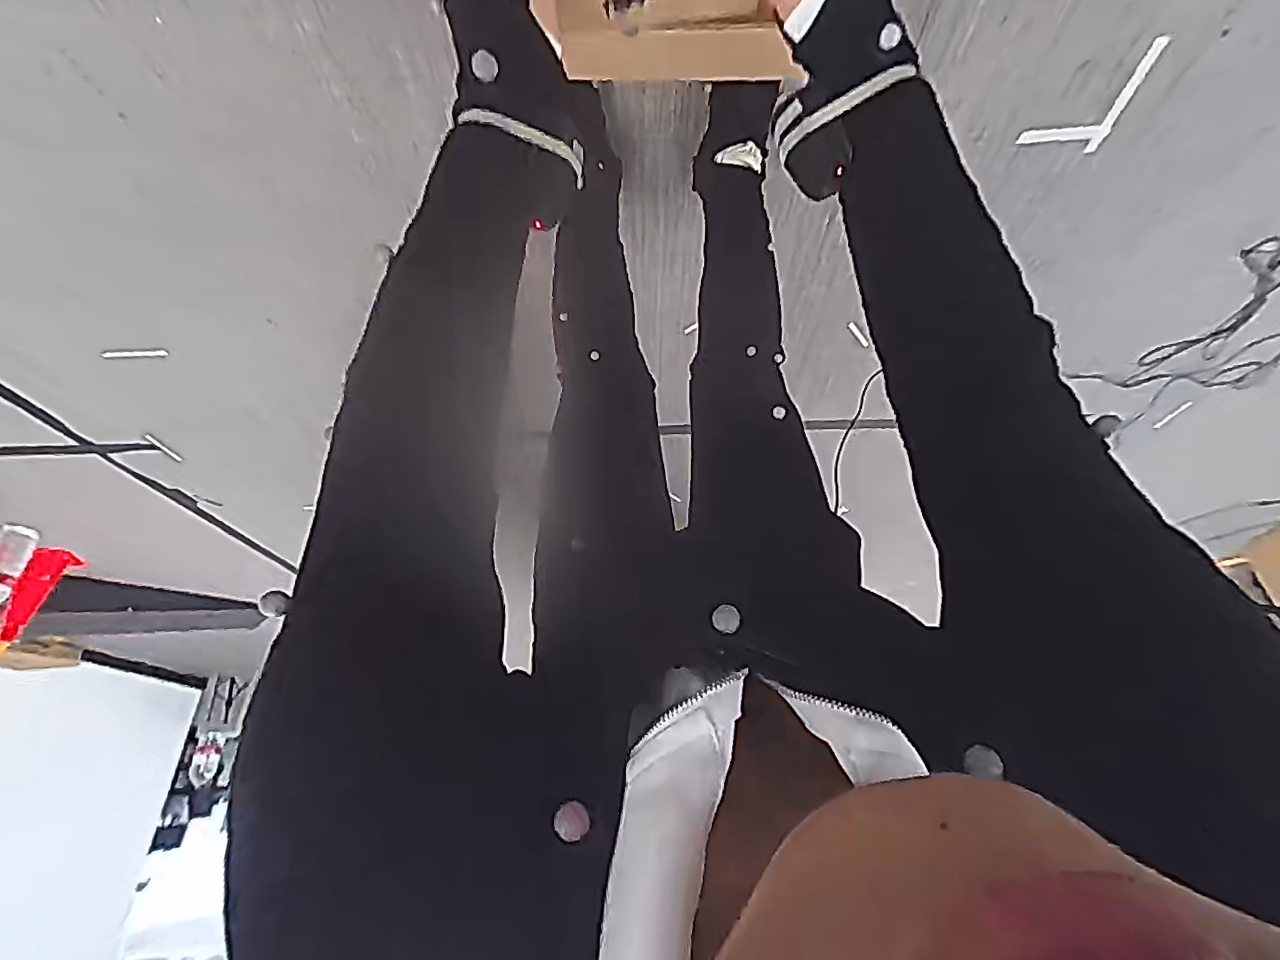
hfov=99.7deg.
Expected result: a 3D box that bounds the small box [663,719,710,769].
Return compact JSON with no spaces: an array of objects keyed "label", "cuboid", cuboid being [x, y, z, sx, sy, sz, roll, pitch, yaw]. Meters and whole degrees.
[{"label":"small box","cuboid":[0.179,1.048,2.149,0.168,0.176,0.179,-1,150,-2]}]

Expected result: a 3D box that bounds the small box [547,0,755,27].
[{"label":"small box","cuboid":[0.002,-0.480,0.396,0.168,0.176,0.179,-2,150,4]}]

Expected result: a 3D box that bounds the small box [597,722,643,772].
[{"label":"small box","cuboid":[-0.081,1.063,2.152,0.179,0.176,0.168,-1,150,-2]}]
